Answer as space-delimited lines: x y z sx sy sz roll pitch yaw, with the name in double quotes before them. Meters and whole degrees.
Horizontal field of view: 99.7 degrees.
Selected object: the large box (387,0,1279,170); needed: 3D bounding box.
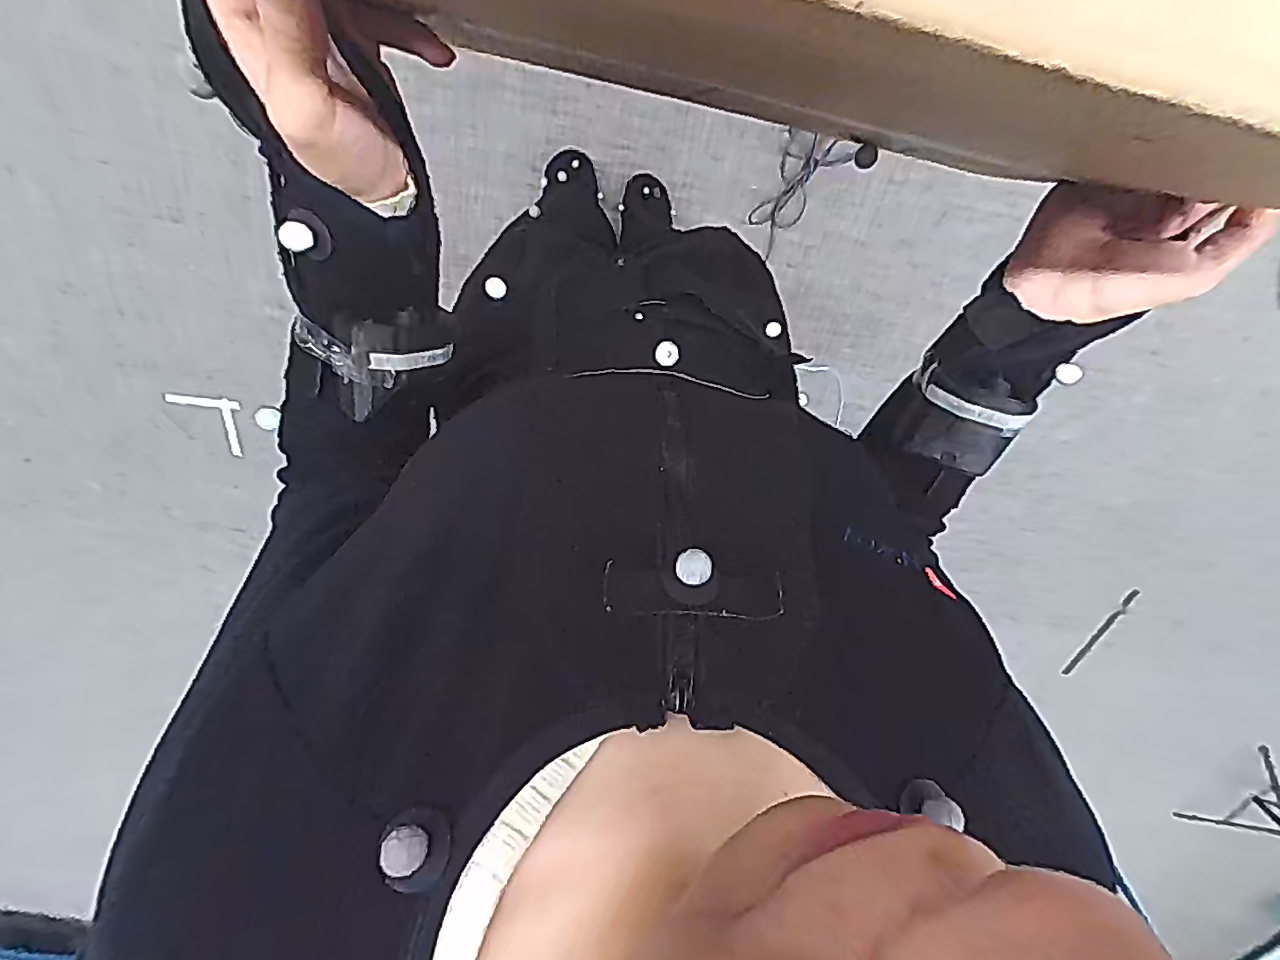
"large box" 0.097 -0.311 0.159 0.408 0.320 0.320 5 123 -11
